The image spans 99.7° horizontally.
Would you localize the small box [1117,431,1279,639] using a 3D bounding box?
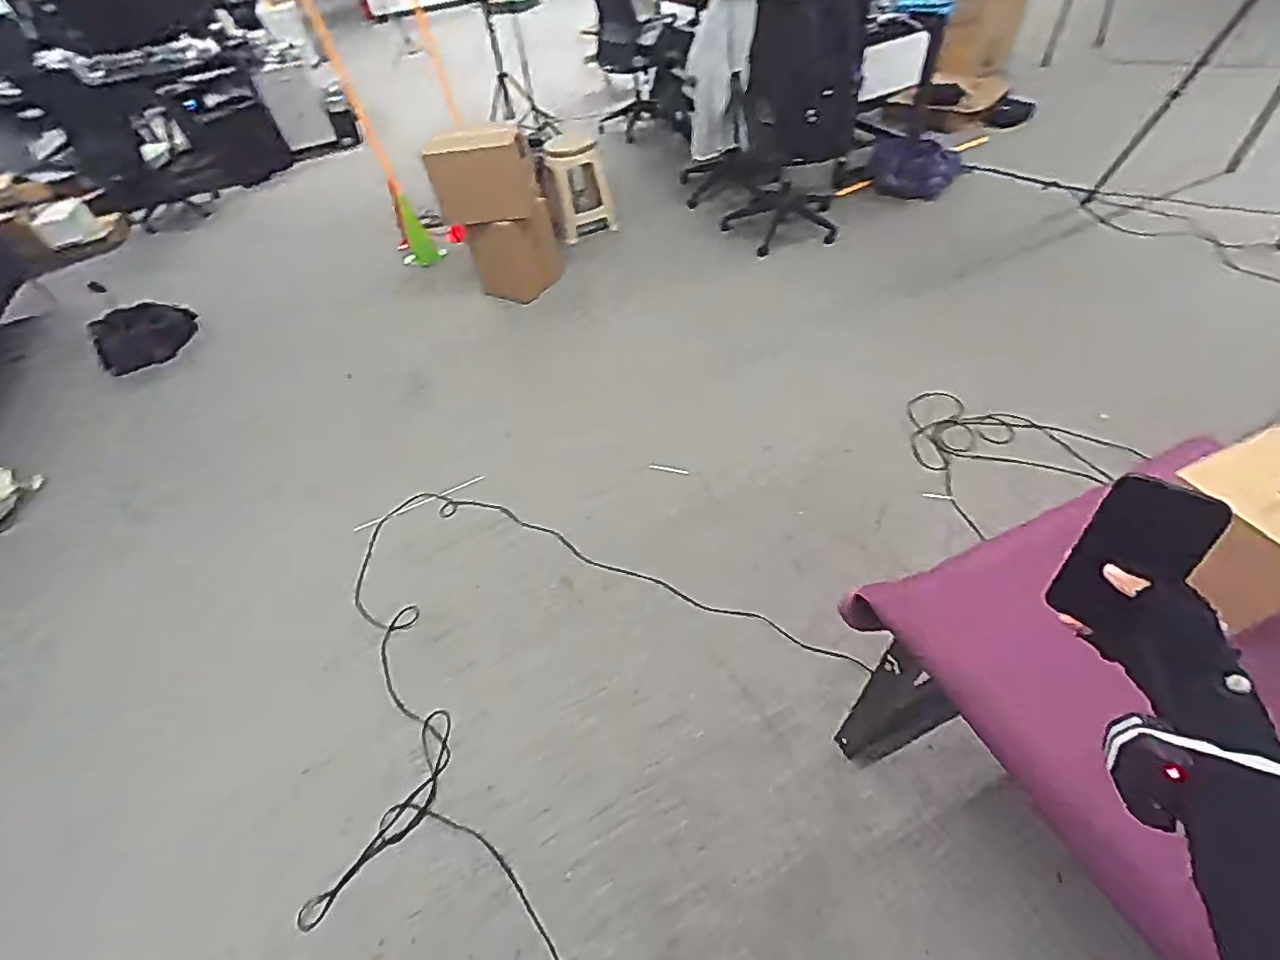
[{"bbox_3d":[0.776,0.071,0.683,0.179,0.176,0.168,-21,51,-8],"label":"small box"}]
